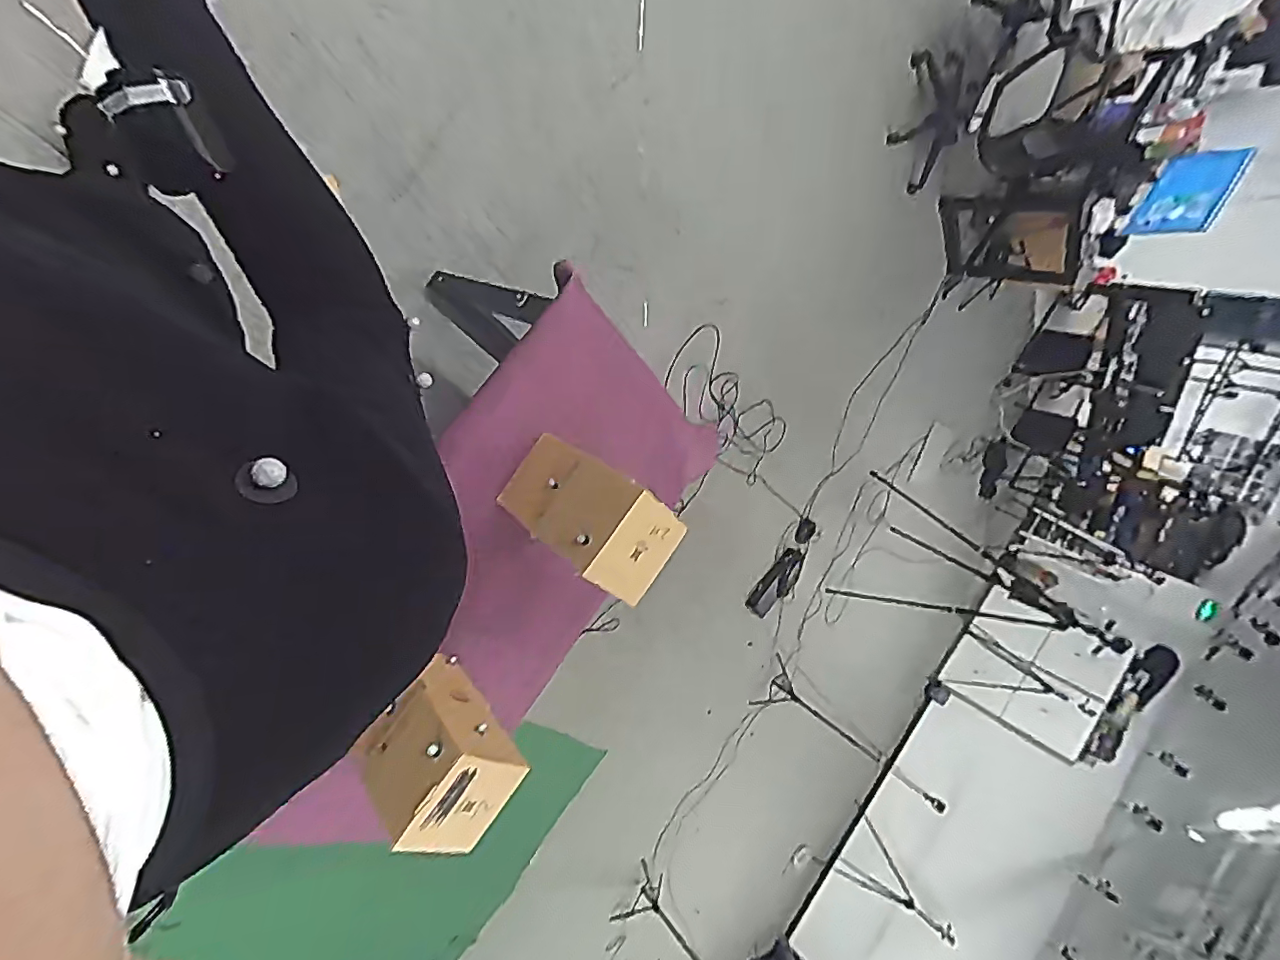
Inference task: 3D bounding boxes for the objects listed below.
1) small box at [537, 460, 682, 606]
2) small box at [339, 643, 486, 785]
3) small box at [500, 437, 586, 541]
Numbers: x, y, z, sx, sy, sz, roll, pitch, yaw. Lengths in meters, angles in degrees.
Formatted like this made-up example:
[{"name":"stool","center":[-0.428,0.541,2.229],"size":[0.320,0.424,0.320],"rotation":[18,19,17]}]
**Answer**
[{"name":"small box","center":[-0.062,0.094,0.987],"size":[0.179,0.176,0.168],"rotation":[-55,137,-8]},{"name":"small box","center":[-0.443,0.446,1.044],"size":[0.179,0.176,0.168],"rotation":[-52,137,-10]},{"name":"small box","center":[-0.161,0.041,1.109],"size":[0.179,0.176,0.168],"rotation":[-56,137,-7]}]
